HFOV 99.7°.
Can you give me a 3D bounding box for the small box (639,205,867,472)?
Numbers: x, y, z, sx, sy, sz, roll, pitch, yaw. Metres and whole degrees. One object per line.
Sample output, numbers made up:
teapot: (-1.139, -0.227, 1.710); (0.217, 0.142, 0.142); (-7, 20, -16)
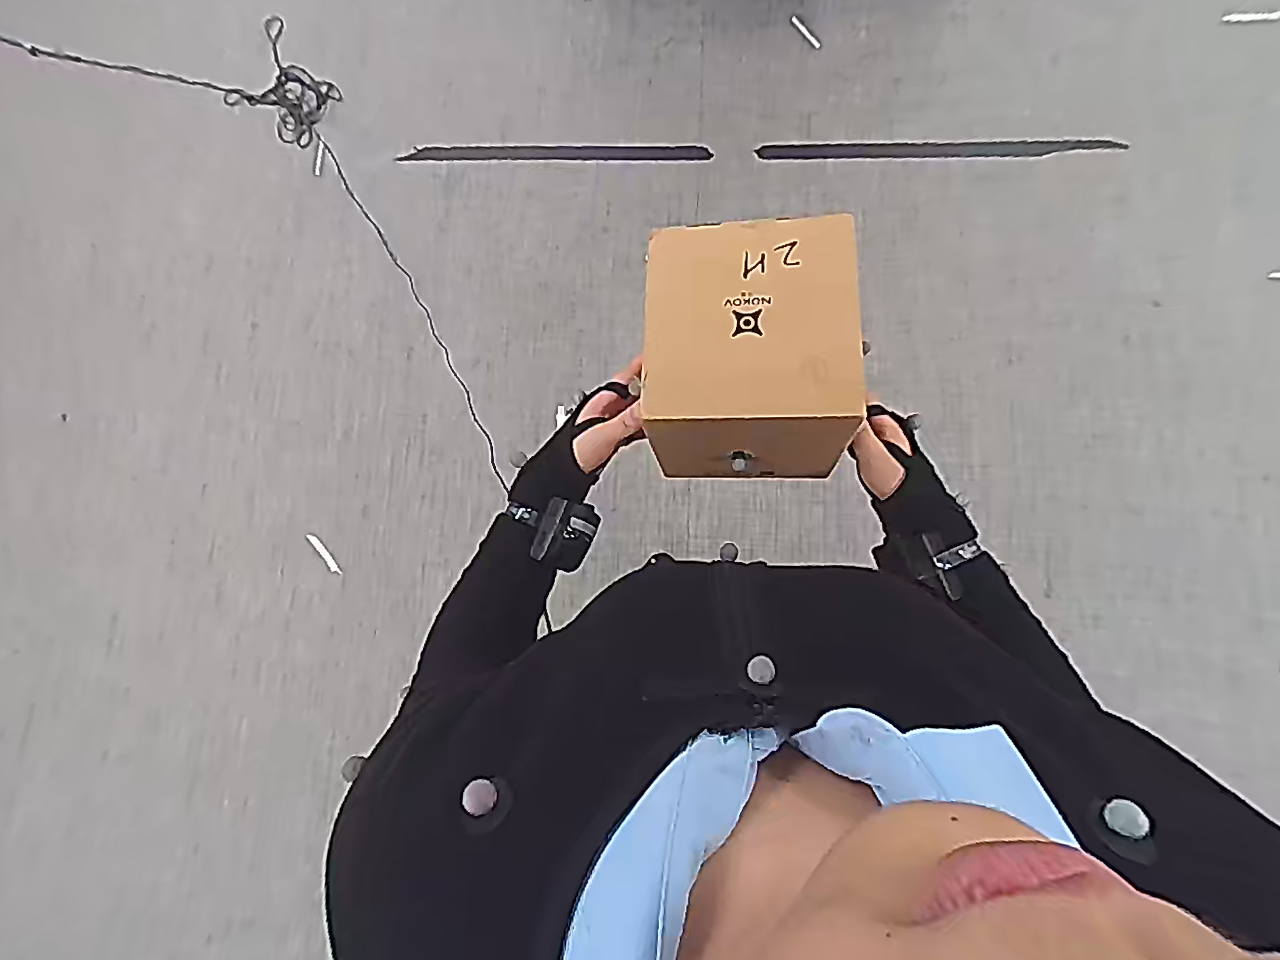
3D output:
small box: (0.098, -0.109, 0.486); (0.168, 0.176, 0.179); (1, 74, 10)
